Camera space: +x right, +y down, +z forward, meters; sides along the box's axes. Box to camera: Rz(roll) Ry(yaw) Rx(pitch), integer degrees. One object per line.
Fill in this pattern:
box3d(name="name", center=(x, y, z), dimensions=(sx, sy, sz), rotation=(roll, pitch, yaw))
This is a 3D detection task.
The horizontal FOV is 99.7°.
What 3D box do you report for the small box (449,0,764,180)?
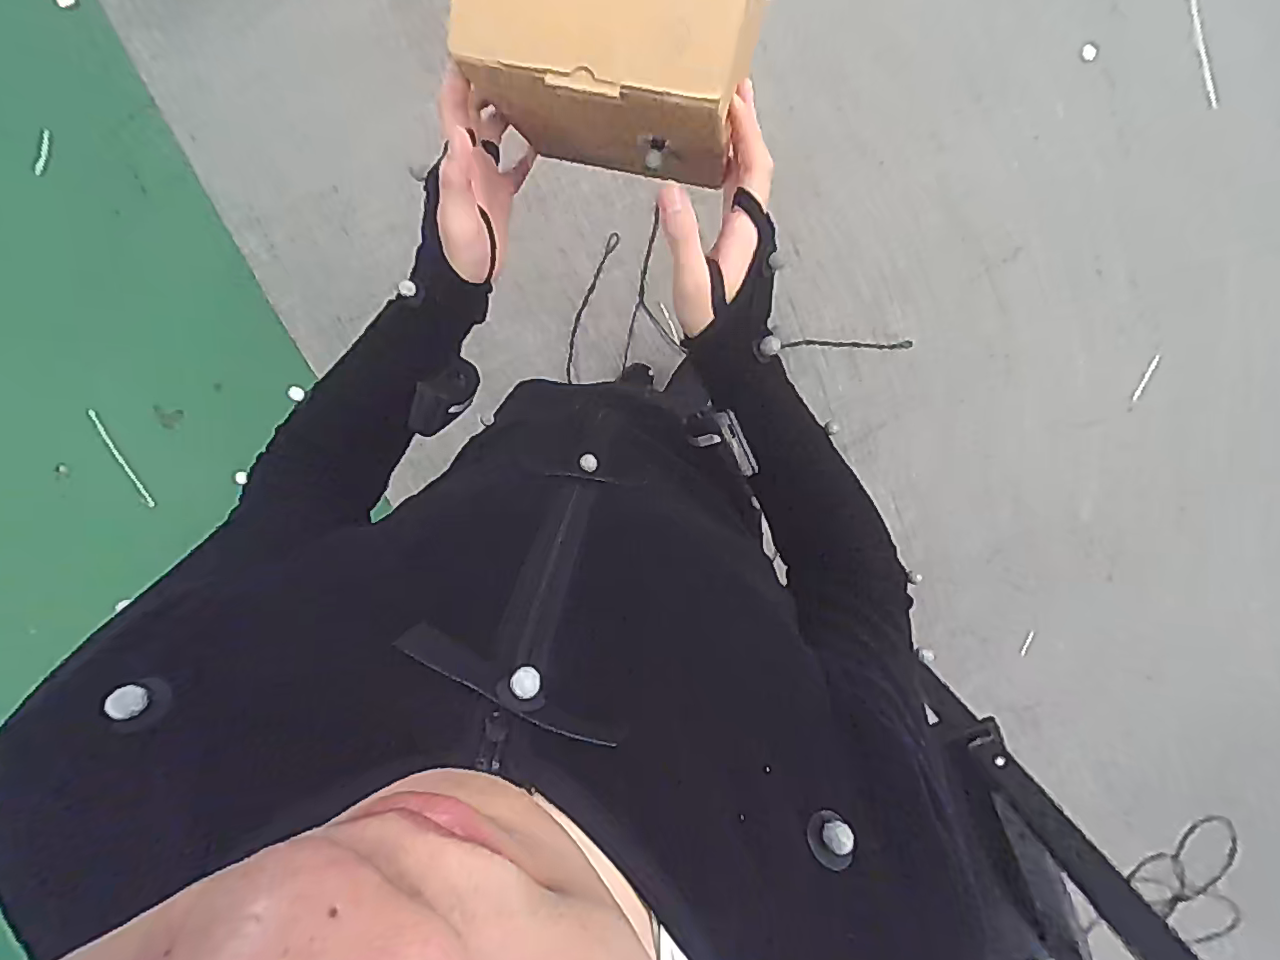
box3d(name="small box", center=(-0.004, -0.328, 0.363), dimensions=(0.168, 0.176, 0.179), rotation=(14, 105, 4))
